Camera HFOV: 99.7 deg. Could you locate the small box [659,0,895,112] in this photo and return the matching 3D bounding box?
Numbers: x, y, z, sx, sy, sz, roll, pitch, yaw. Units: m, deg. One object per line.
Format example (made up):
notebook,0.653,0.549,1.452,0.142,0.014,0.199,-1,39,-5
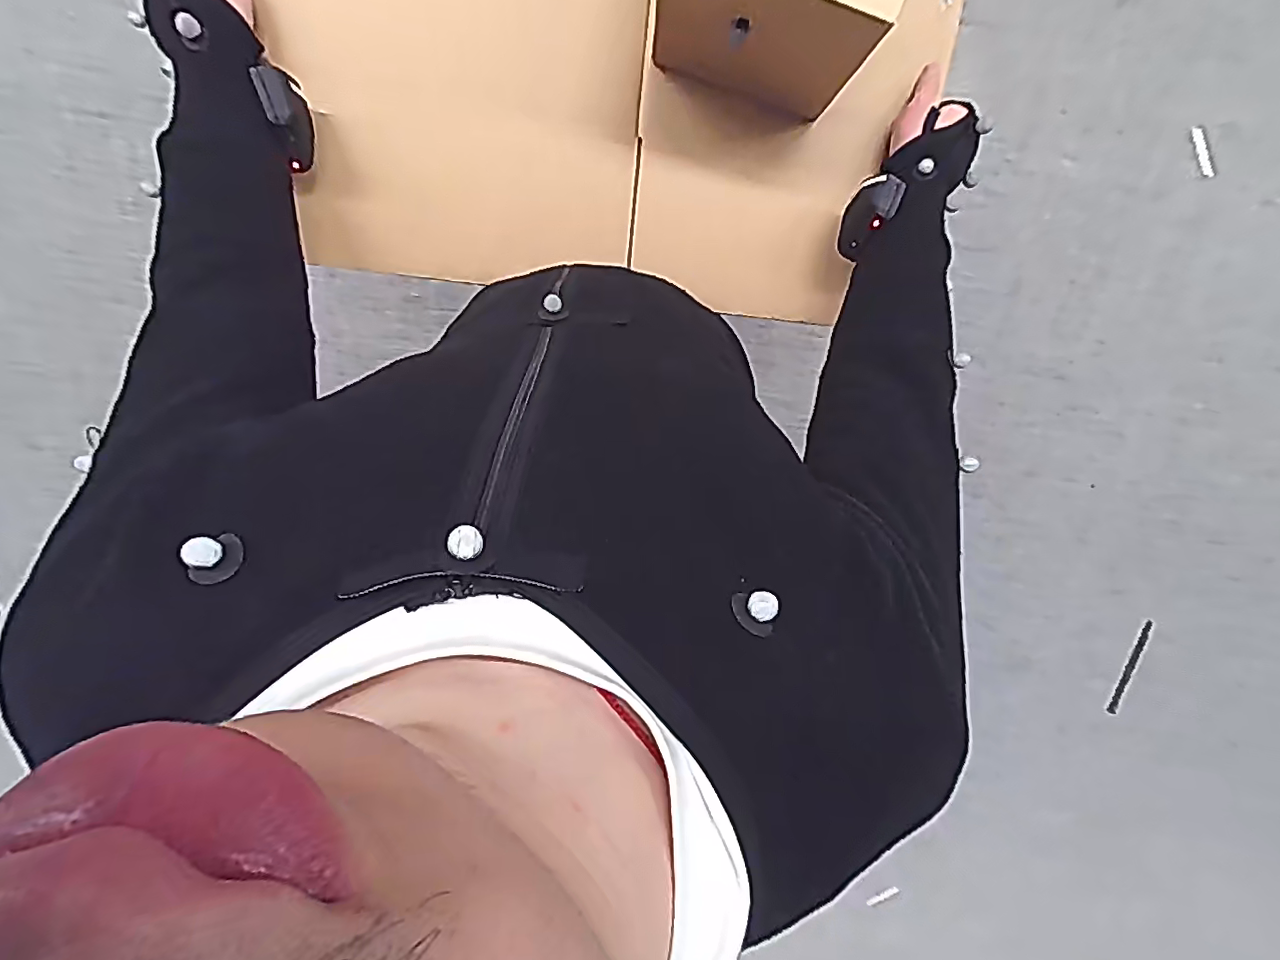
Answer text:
small box,0.119,-0.444,0.445,0.179,0.176,0.168,16,103,-4
